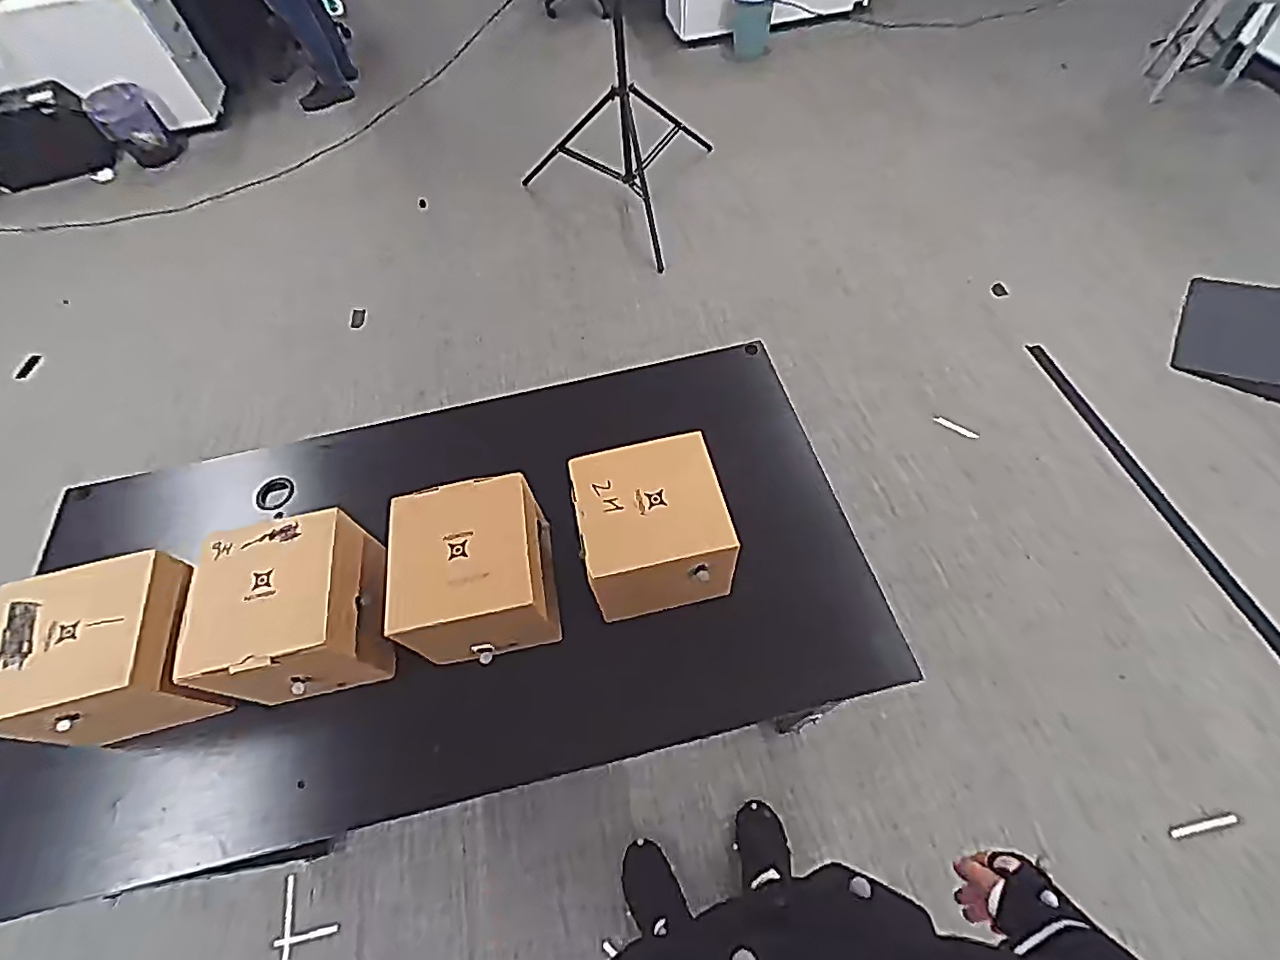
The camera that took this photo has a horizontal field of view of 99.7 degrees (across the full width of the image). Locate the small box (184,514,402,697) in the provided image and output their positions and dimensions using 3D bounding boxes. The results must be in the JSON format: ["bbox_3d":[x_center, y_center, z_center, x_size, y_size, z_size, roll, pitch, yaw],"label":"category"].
[{"bbox_3d":[-0.423,0.170,0.695,0.168,0.176,0.179,-12,60,-3],"label":"small box"}]

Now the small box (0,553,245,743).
[{"bbox_3d":[-0.633,0.217,0.681,0.179,0.176,0.168,-14,60,-5],"label":"small box"}]

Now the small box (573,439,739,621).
[{"bbox_3d":[0.017,0.071,0.719,0.179,0.176,0.168,-12,59,-3],"label":"small box"}]
